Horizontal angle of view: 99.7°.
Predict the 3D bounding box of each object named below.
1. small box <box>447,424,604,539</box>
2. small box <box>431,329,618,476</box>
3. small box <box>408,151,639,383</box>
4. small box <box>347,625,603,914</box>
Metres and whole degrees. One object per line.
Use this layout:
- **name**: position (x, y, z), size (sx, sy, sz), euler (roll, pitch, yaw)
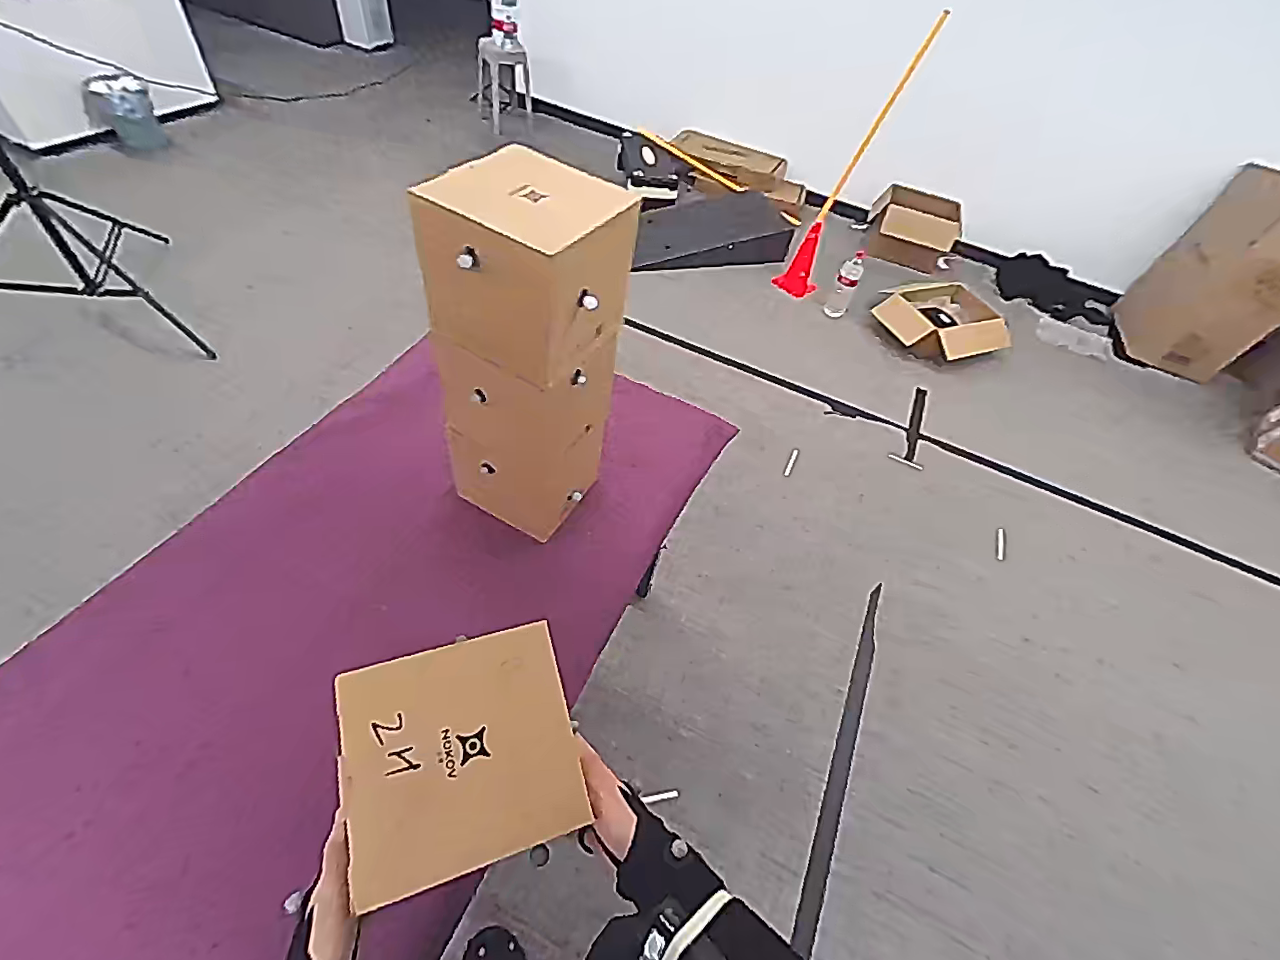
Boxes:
- **small box**: position (-0.177, -0.034, 0.867), size (0.179, 0.176, 0.168), euler (27, 52, 12)
- **small box**: position (-0.151, -0.135, 0.741), size (0.179, 0.176, 0.168), euler (28, 53, 14)
- **small box**: position (-0.123, -0.235, 0.614), size (0.179, 0.176, 0.168), euler (28, 53, 14)
- **small box**: position (-0.148, 0.251, 0.495), size (0.179, 0.176, 0.168), euler (-11, 64, -17)
